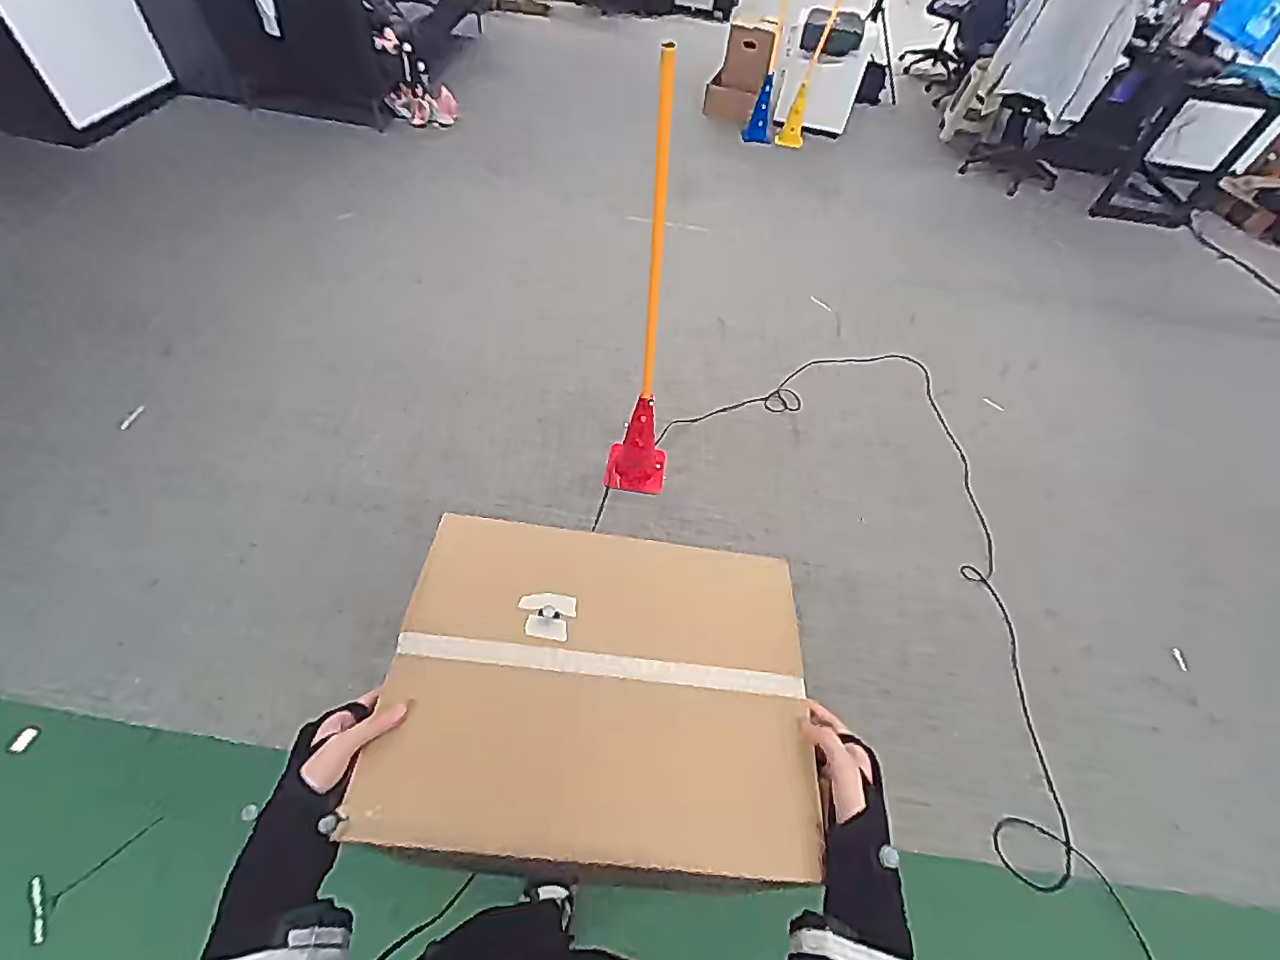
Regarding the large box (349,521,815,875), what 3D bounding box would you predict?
[{"bbox_3d":[-0.053,0.281,0.662,0.408,0.320,0.320,8,51,-4],"label":"large box"}]
